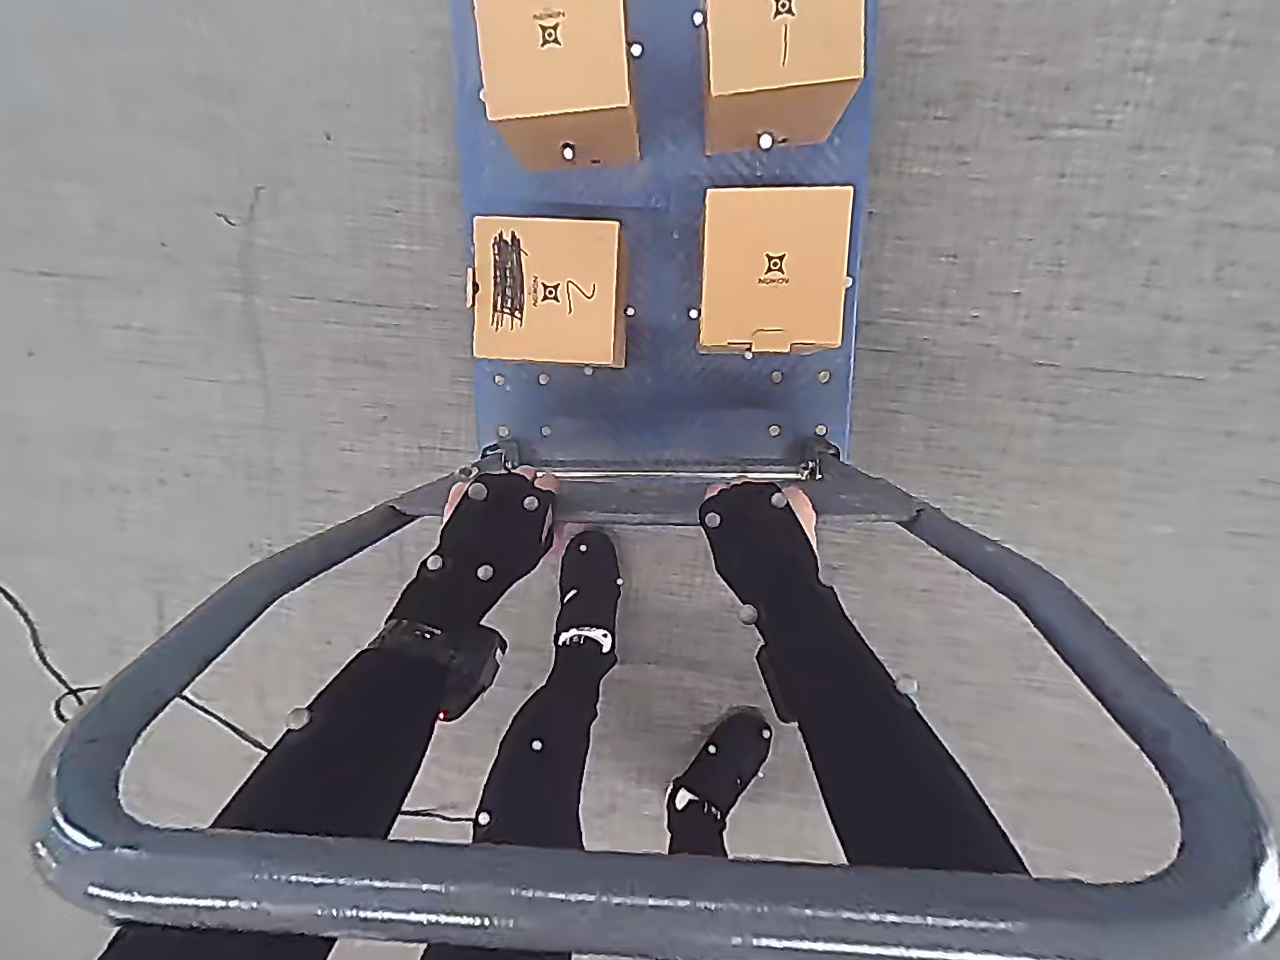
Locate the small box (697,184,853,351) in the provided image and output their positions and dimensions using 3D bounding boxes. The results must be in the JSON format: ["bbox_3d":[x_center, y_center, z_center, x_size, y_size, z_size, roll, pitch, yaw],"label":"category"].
[{"bbox_3d":[0.161,-0.262,0.701,0.168,0.176,0.179,1,102,4],"label":"small box"}]

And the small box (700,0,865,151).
[{"bbox_3d":[0.159,-0.527,0.647,0.168,0.176,0.179,-3,102,6],"label":"small box"}]

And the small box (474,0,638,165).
[{"bbox_3d":[-0.093,-0.511,0.669,0.168,0.176,0.179,-3,101,4],"label":"small box"}]
